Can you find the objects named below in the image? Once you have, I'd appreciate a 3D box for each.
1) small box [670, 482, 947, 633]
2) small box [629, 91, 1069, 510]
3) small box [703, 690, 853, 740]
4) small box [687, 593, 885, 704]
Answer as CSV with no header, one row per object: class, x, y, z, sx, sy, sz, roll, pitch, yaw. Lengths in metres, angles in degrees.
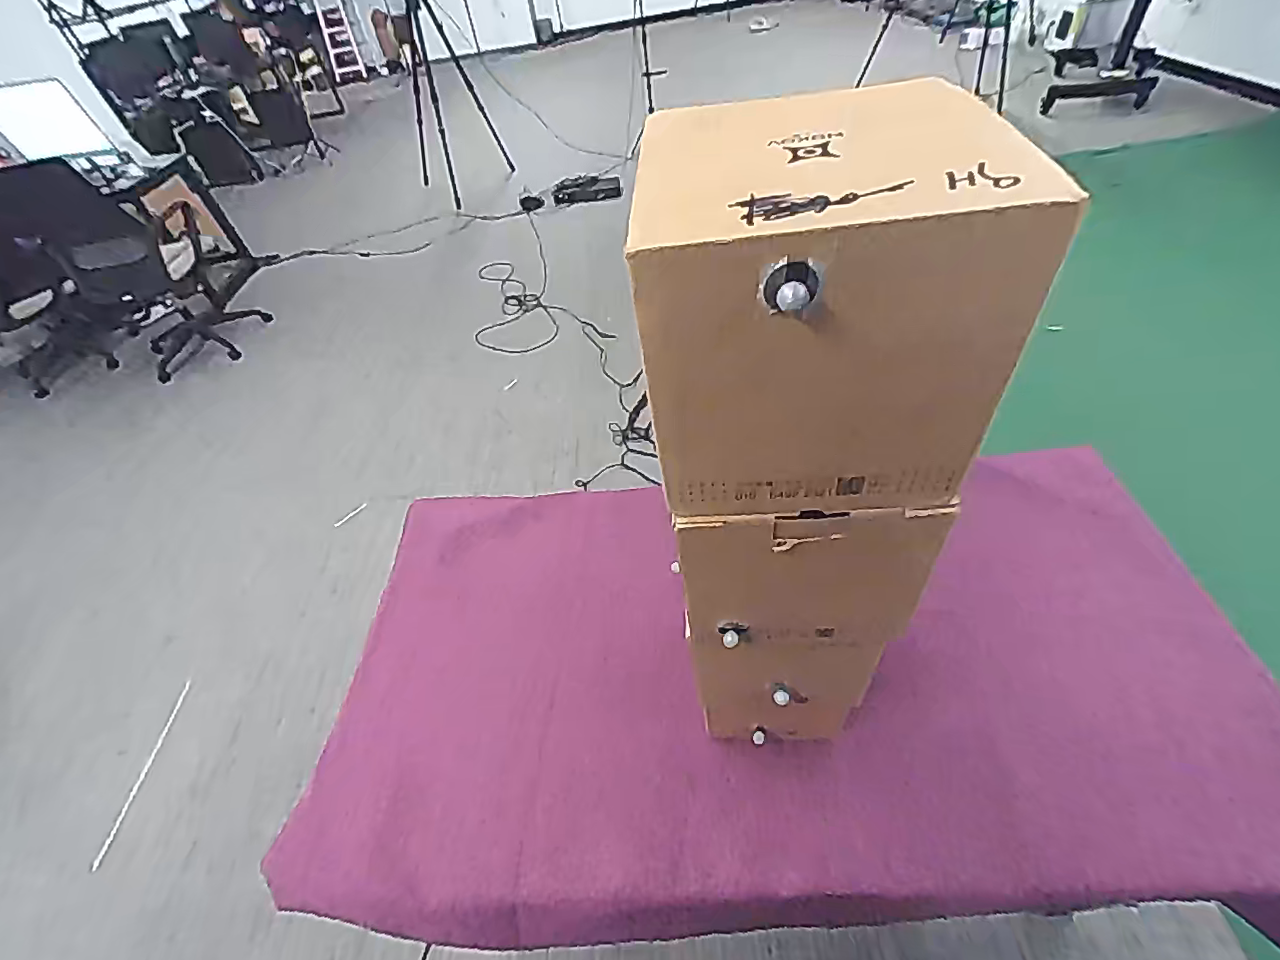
small box,0.117,0.012,0.437,0.168,0.176,0.179,-4,47,8
small box,0.093,-0.102,0.321,0.168,0.176,0.179,-3,47,9
small box,0.164,0.212,0.693,0.168,0.176,0.179,-3,48,9
small box,0.136,0.115,0.563,0.168,0.176,0.179,-5,47,8
